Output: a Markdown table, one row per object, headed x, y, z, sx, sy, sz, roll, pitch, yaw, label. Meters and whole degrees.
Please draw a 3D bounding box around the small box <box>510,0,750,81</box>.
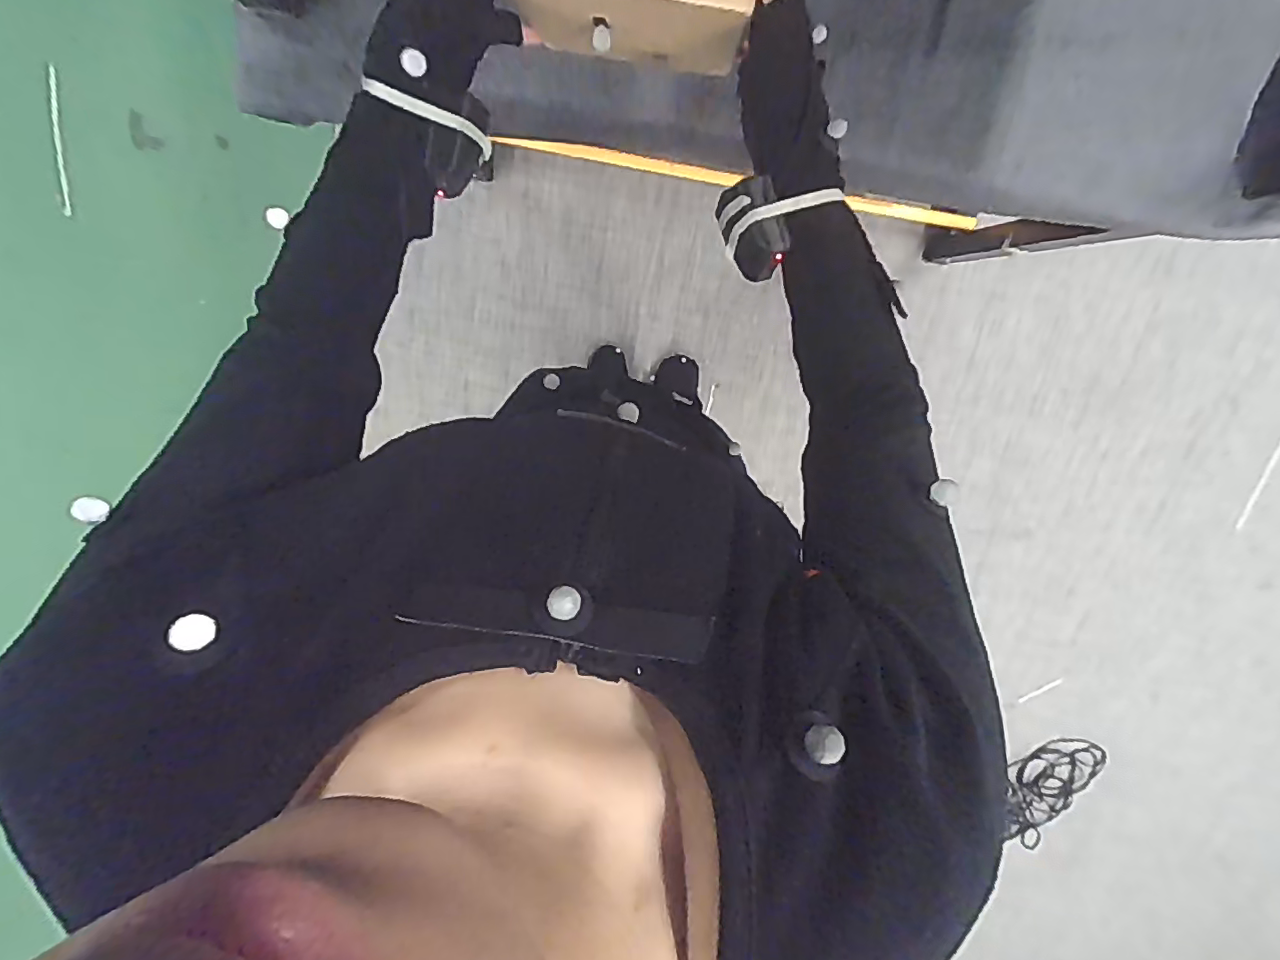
| x | y | z | sx | sy | sz | roll | pitch | yaw | label |
| --- | --- | --- | --- | --- | --- | --- | --- | --- | --- |
| 0.005 | -0.415 | 0.385 | 0.168 | 0.176 | 0.179 | 8 | 113 | -1 | small box |
